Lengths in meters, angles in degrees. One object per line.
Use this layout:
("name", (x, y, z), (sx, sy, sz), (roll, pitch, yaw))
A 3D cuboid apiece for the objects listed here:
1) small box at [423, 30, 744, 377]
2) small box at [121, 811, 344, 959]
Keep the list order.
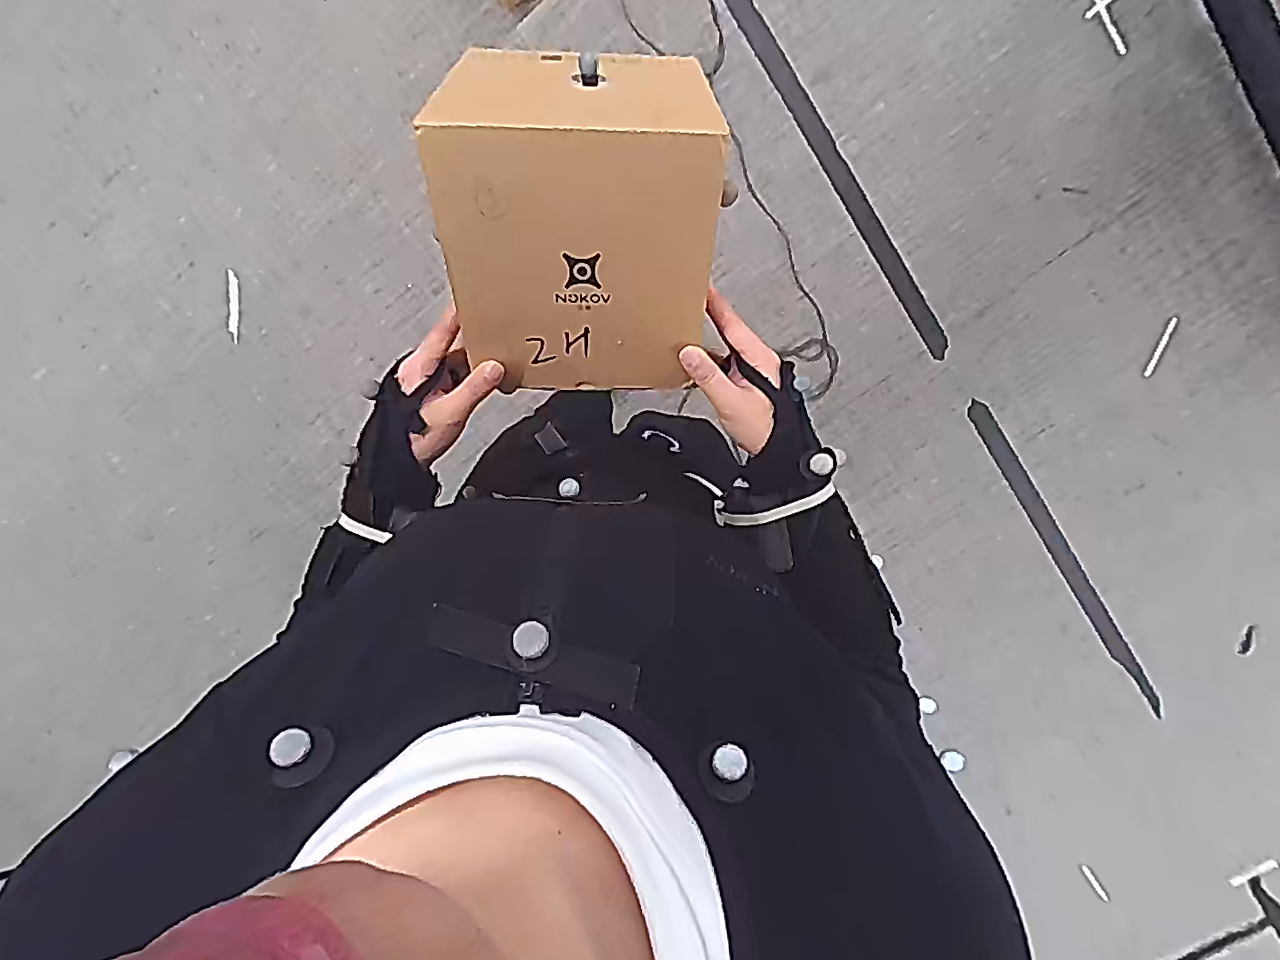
("small box", (-0.036, -0.195, 0.384), (0.168, 0.176, 0.179), (1, 138, -4))
("small box", (-0.567, 0.628, 0.780), (0.179, 0.176, 0.168), (-35, 100, 8))
